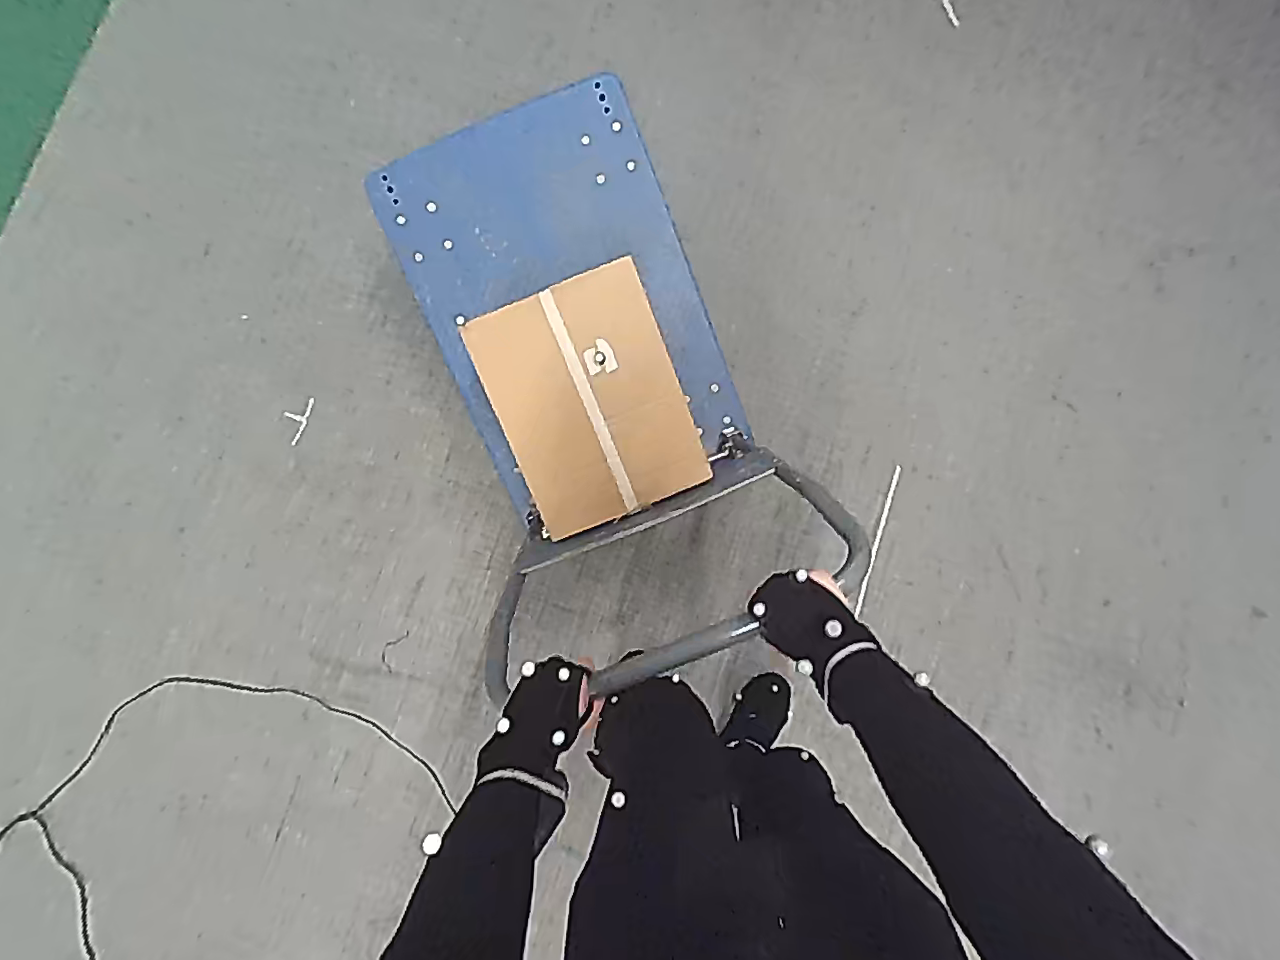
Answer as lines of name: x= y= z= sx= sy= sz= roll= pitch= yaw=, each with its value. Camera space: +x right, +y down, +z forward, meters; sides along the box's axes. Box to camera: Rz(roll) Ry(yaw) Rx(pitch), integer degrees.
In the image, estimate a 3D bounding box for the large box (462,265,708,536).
large box: x=-0.094 y=-0.154 z=1.103 sx=0.320 sy=0.320 sz=0.408 roll=-23 pitch=99 yaw=1
